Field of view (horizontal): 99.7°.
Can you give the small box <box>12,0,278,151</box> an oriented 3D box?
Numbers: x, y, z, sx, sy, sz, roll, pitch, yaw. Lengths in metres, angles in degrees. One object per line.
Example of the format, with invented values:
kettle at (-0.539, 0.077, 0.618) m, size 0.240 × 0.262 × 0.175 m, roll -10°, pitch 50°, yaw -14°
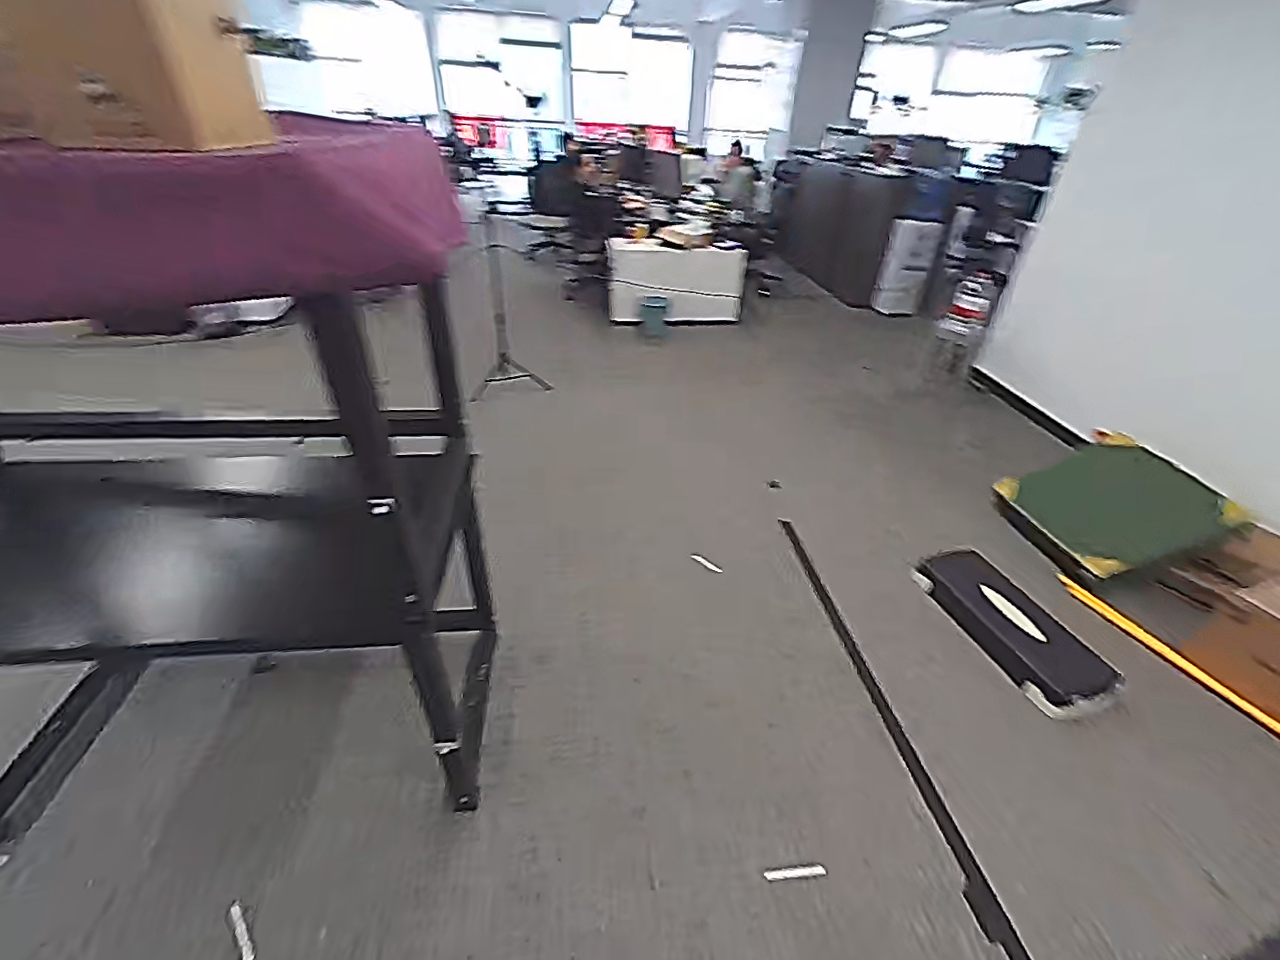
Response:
small box at (-0.568, -0.497, 0.640) m, size 0.168 × 0.176 × 0.179 m, roll 0°, pitch 34°, yaw -3°
